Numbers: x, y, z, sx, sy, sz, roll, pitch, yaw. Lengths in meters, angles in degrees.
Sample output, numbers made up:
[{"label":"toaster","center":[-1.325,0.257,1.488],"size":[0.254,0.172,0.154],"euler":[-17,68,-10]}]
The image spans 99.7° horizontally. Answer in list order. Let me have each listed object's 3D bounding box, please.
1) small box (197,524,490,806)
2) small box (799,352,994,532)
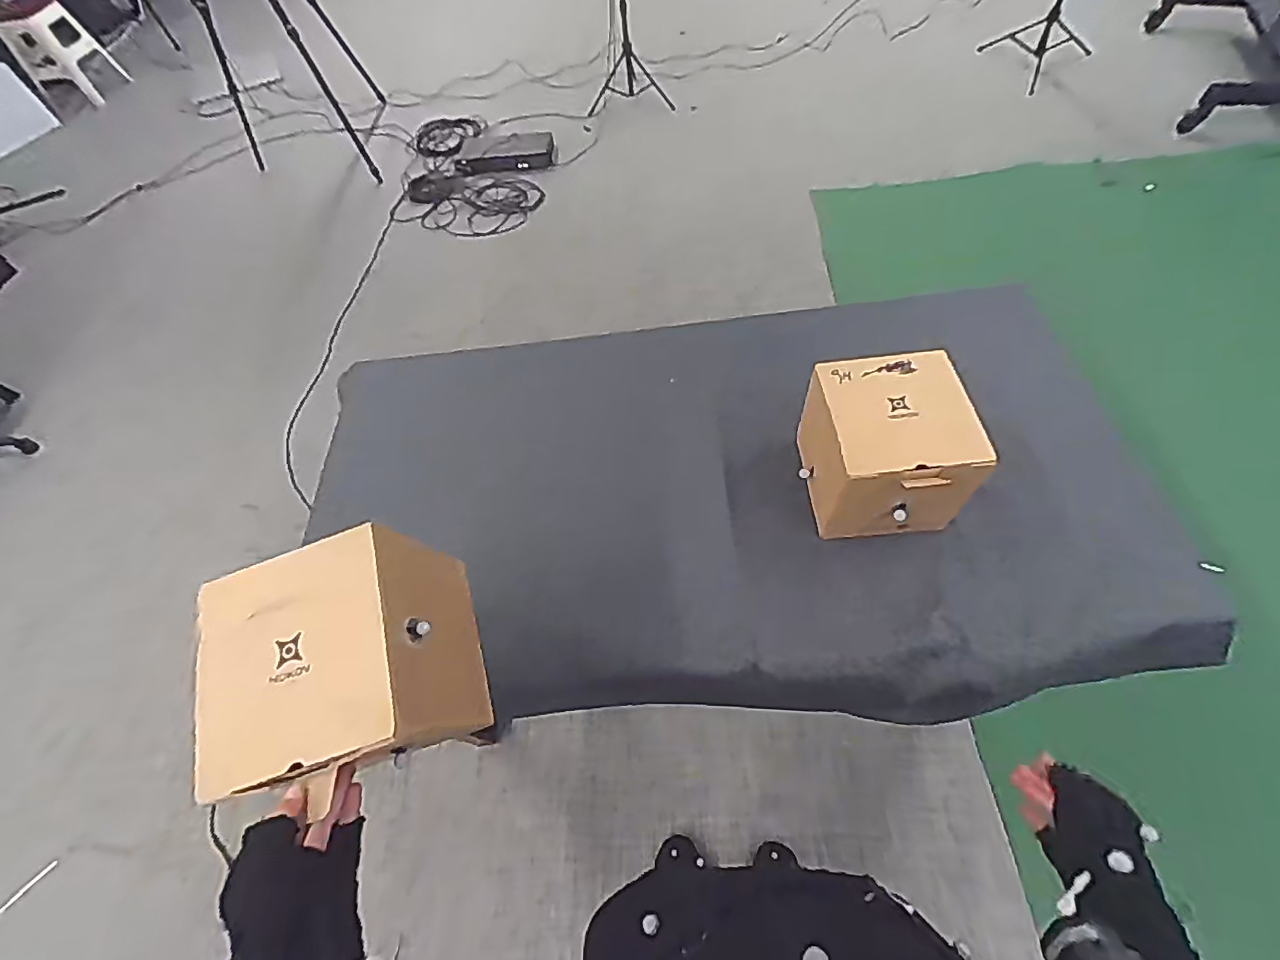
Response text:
[{"label":"small box","center":[-0.256,0.165,0.497],"size":[0.168,0.176,0.179],"euler":[-20,66,3]},{"label":"small box","center":[0.318,-0.040,0.714],"size":[0.168,0.176,0.179],"euler":[-5,59,3]}]
